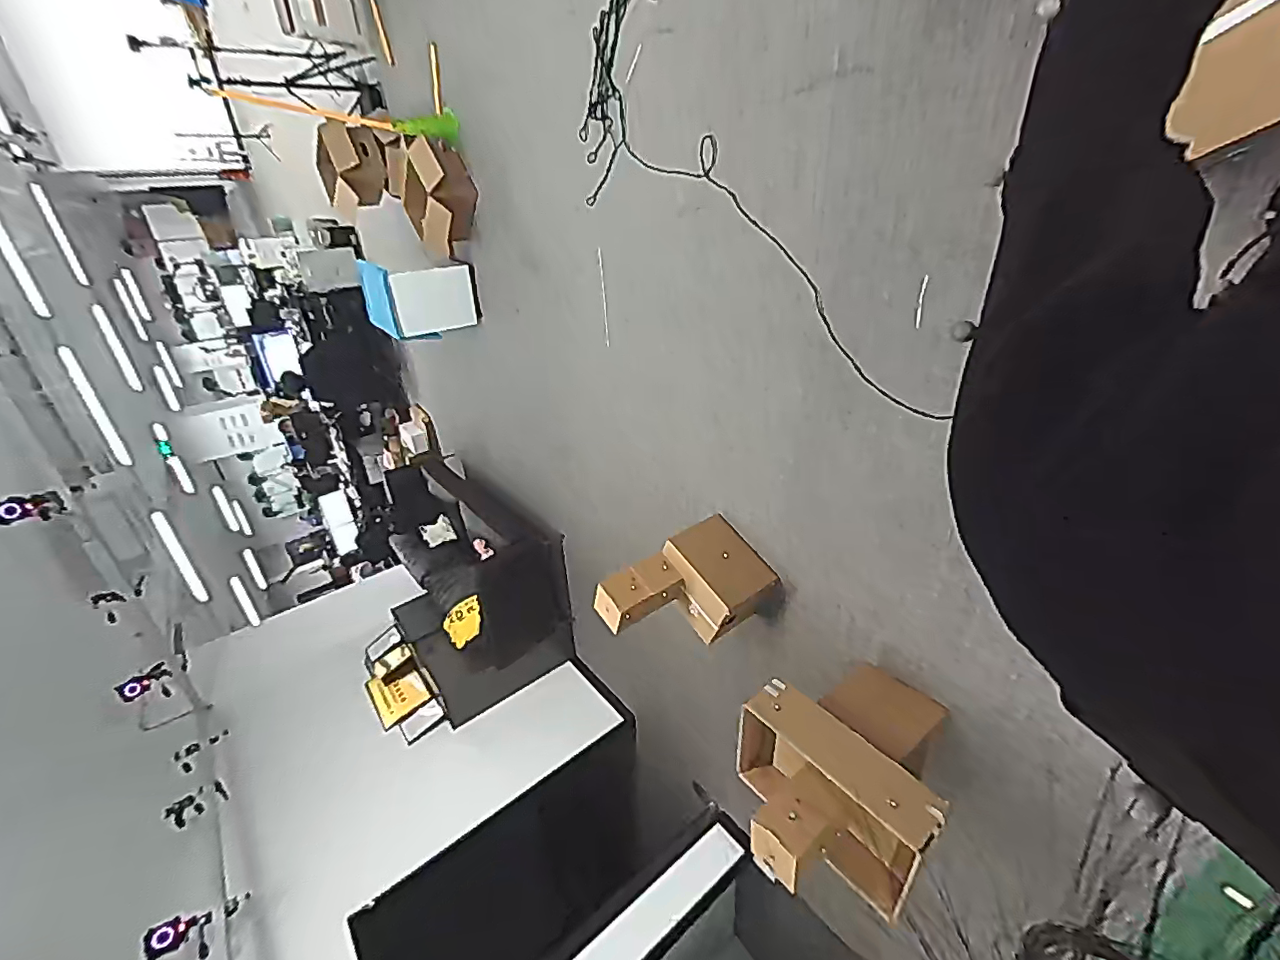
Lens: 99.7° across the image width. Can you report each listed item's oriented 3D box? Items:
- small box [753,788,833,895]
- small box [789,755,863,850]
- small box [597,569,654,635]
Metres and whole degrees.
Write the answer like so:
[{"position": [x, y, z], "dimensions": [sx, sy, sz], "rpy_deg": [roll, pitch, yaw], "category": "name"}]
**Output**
[{"position": [0.465, 1.085, 1.639], "dimensions": [0.168, 0.176, 0.179], "rpy_deg": [26, 128, 47], "category": "small box"}, {"position": [0.590, 1.033, 1.730], "dimensions": [0.168, 0.176, 0.179], "rpy_deg": [28, 130, 45], "category": "small box"}, {"position": [-0.061, 0.508, 2.269], "dimensions": [0.168, 0.176, 0.179], "rpy_deg": [46, 142, 31], "category": "small box"}]
